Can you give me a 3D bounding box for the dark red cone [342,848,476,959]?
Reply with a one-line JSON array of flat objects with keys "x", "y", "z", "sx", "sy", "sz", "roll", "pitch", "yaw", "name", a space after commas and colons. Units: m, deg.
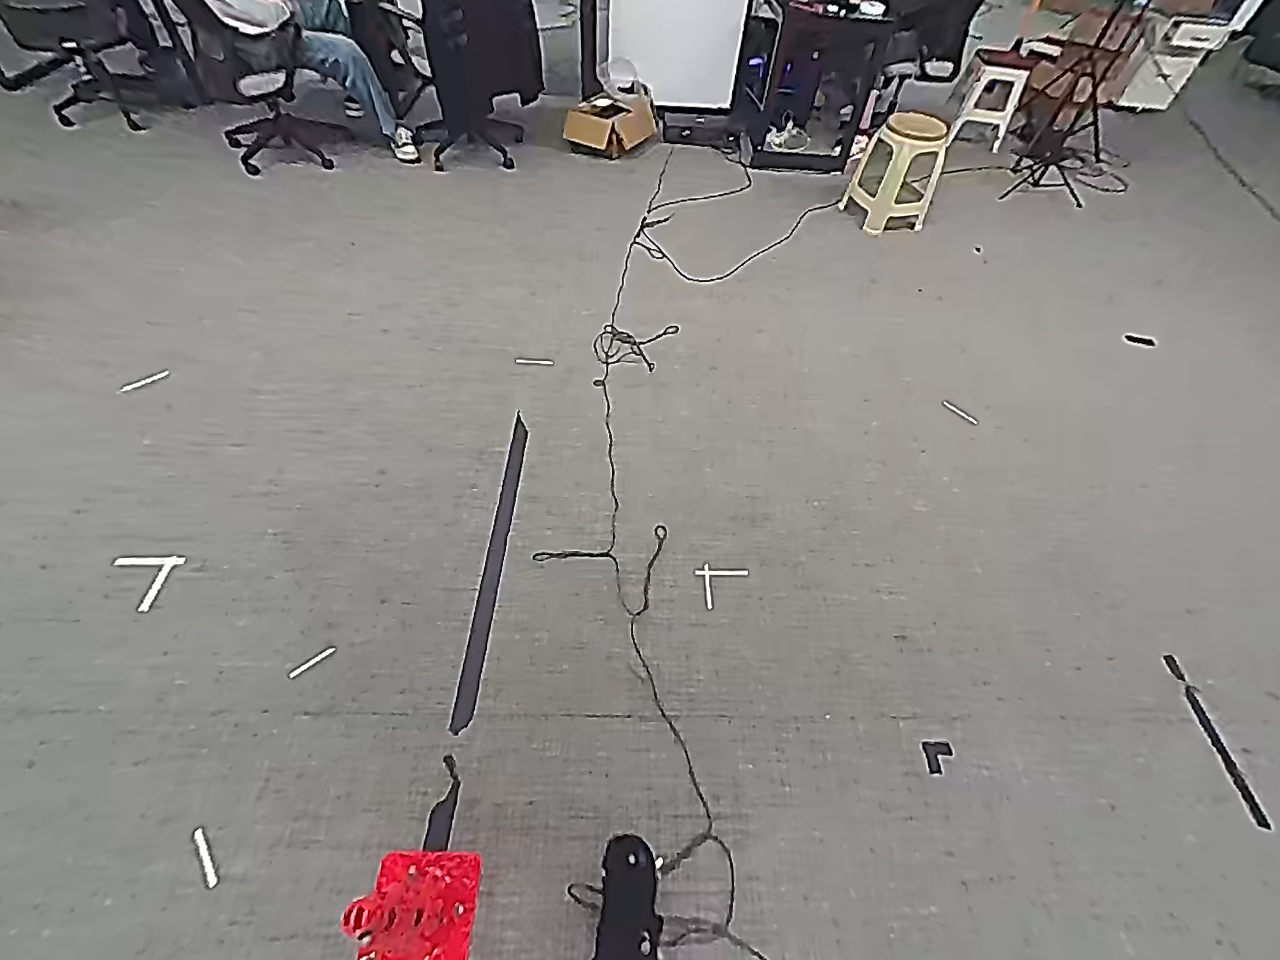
[{"x": -0.405, "y": 0.708, "z": 0.884, "sx": 0.201, "sy": 0.394, "sz": 0.202, "roll": 3, "pitch": 51, "yaw": -4, "name": "dark red cone"}]
